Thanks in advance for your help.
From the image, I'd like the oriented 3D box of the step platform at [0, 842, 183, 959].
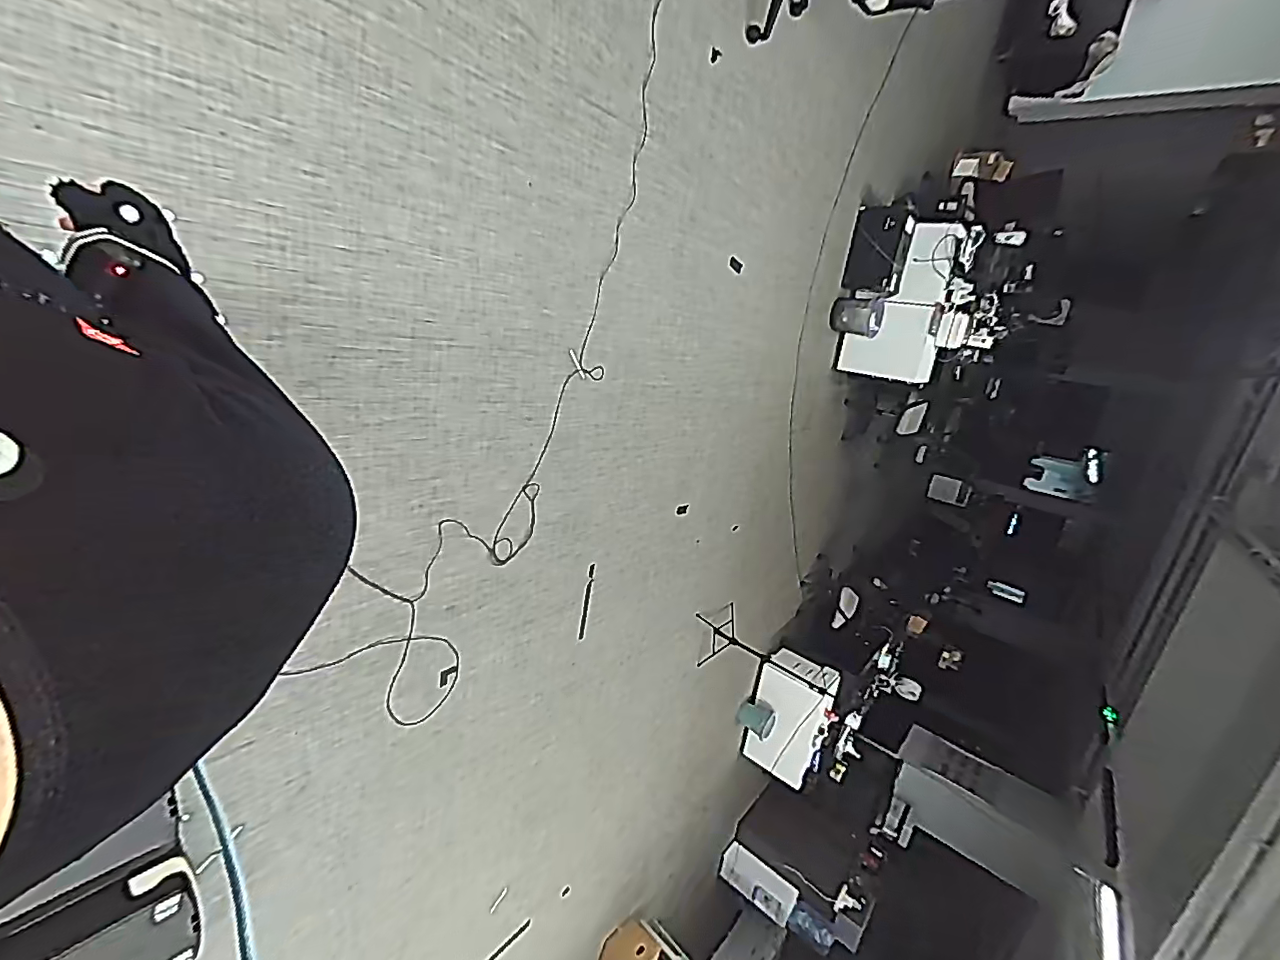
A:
[{"bbox_3d":[-1.419,1.131,1.149,0.684,0.204,0.286,-13,117,-48],"label":"step platform"}]
